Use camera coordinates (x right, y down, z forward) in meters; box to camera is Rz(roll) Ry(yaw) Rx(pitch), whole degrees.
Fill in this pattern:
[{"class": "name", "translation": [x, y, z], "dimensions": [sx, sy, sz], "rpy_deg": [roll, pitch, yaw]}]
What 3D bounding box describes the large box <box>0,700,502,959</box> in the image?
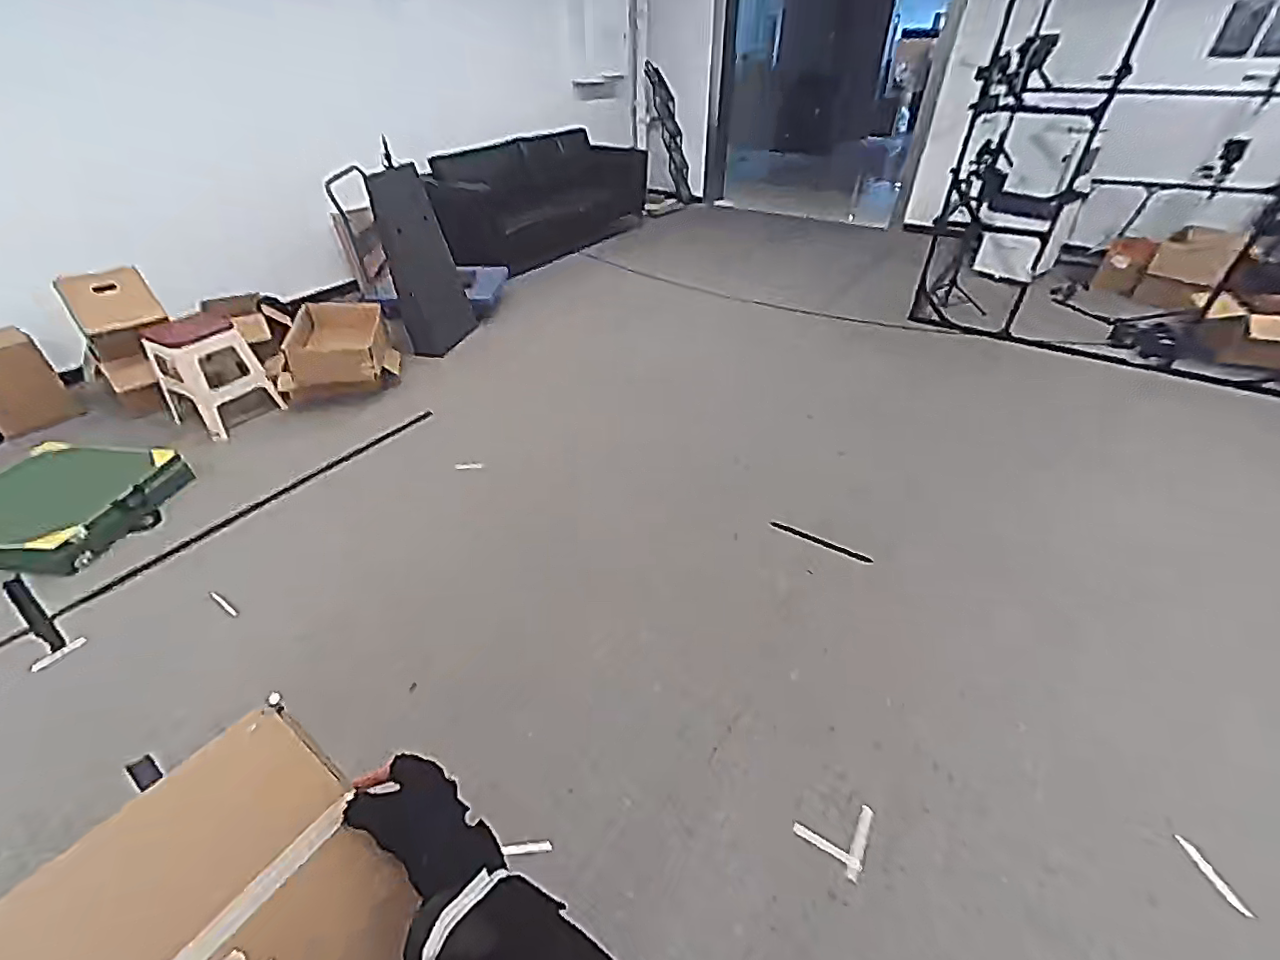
[{"class": "large box", "translation": [-0.389, 0.513, 0.496], "dimensions": [0.320, 0.320, 0.408], "rpy_deg": [29, 46, 23]}]
